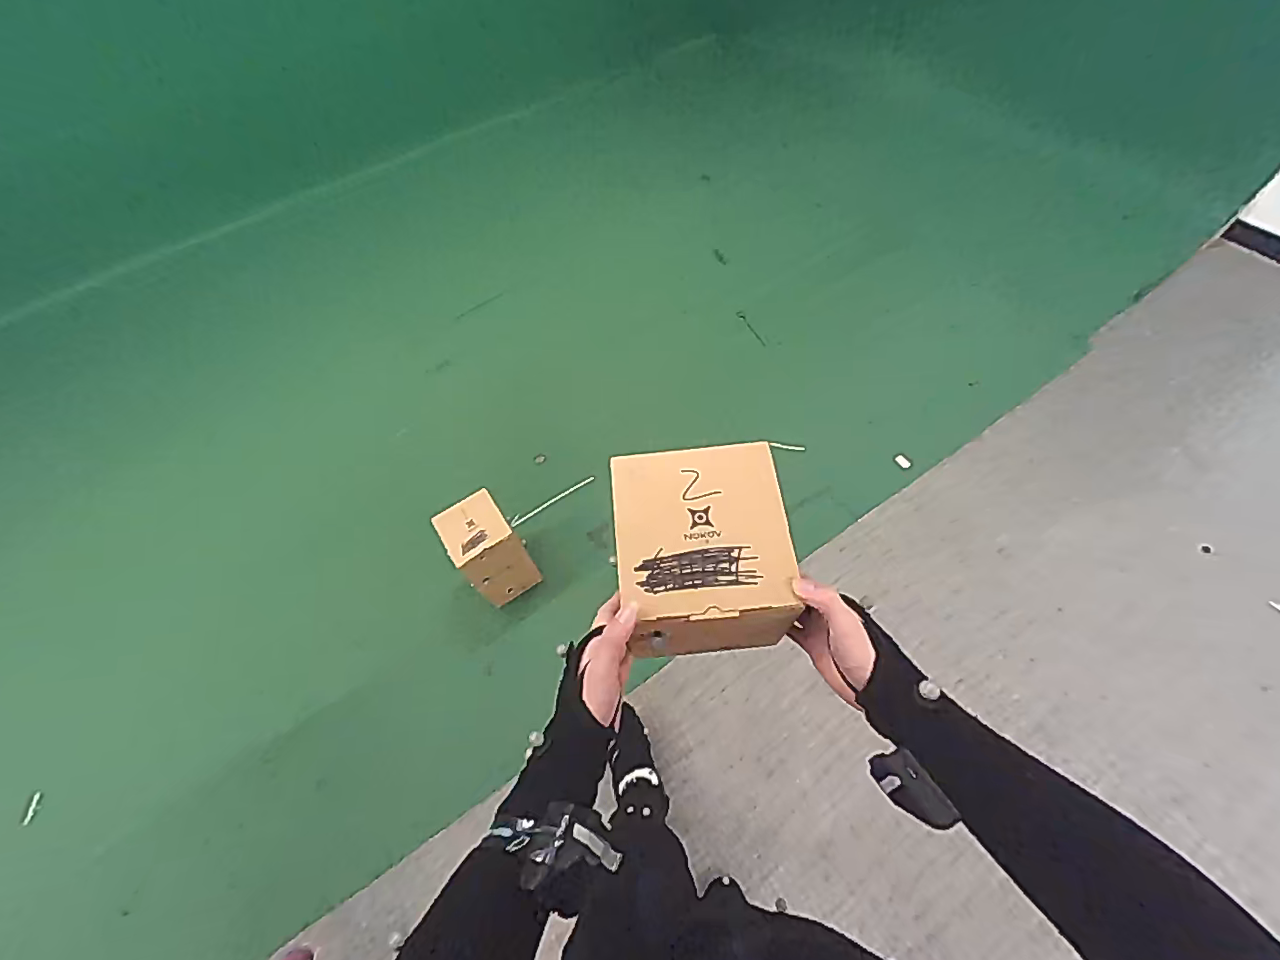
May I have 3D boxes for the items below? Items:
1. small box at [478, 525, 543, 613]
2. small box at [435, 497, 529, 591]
[{"bbox_3d":[-0.414,0.271,1.626,0.168,0.176,0.179,-32,61,-14],"label":"small box"},{"bbox_3d":[-0.427,0.185,1.488,0.168,0.176,0.179,-32,60,-14],"label":"small box"}]
